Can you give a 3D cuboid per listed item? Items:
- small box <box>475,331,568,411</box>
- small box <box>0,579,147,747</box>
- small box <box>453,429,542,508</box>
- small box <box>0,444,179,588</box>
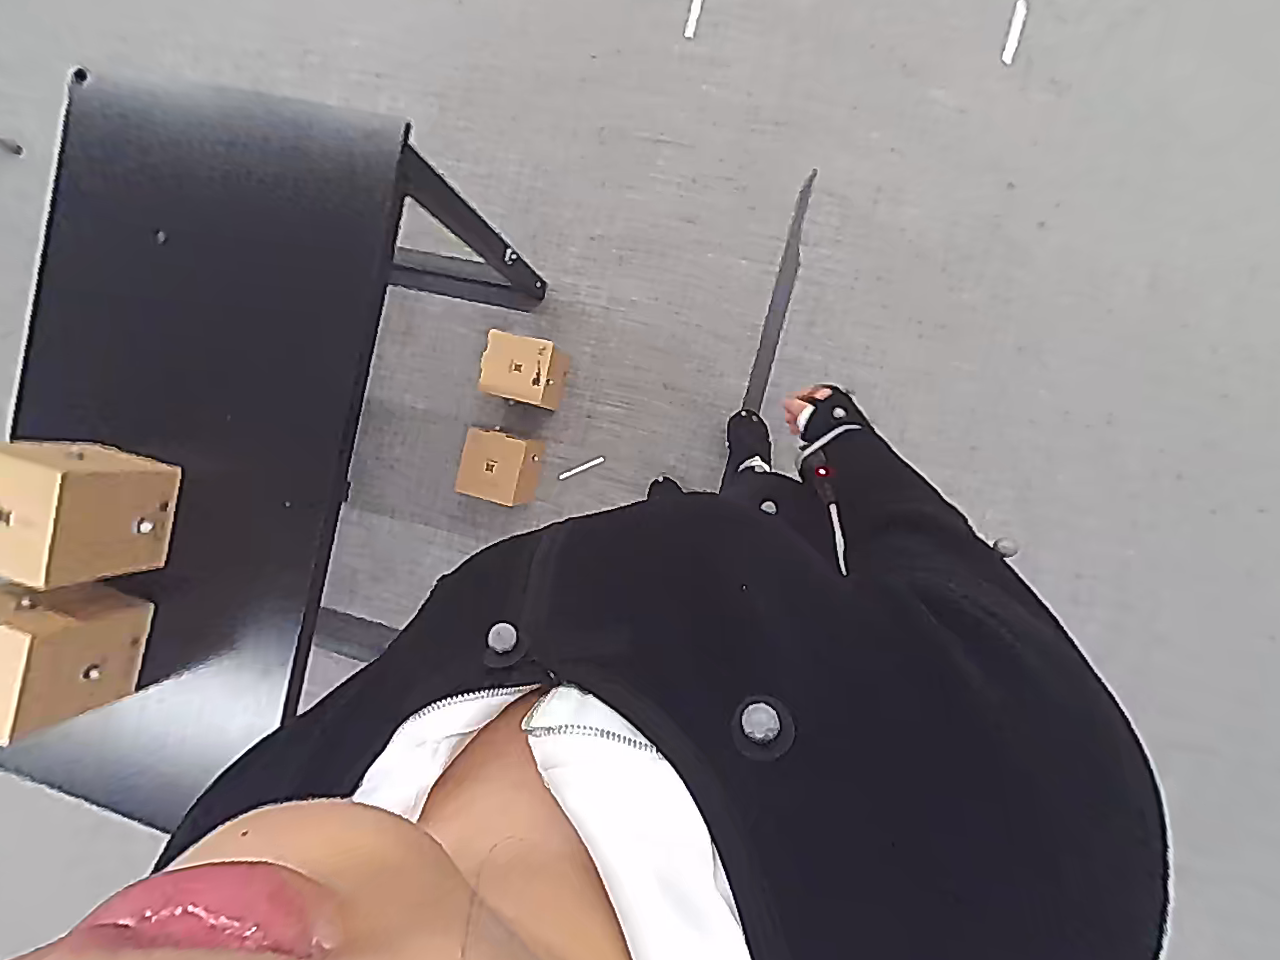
[{"bbox_3d":[-0.314,-0.287,1.459,0.179,0.176,0.168,13,94,8],"label":"small box"},{"bbox_3d":[-0.914,0.263,0.822,0.179,0.176,0.168,17,93,7],"label":"small box"},{"bbox_3d":[-0.380,-0.033,1.478,0.168,0.176,0.179,14,94,8],"label":"small box"},{"bbox_3d":[-0.856,0.046,0.808,0.179,0.176,0.168,14,93,7],"label":"small box"}]
